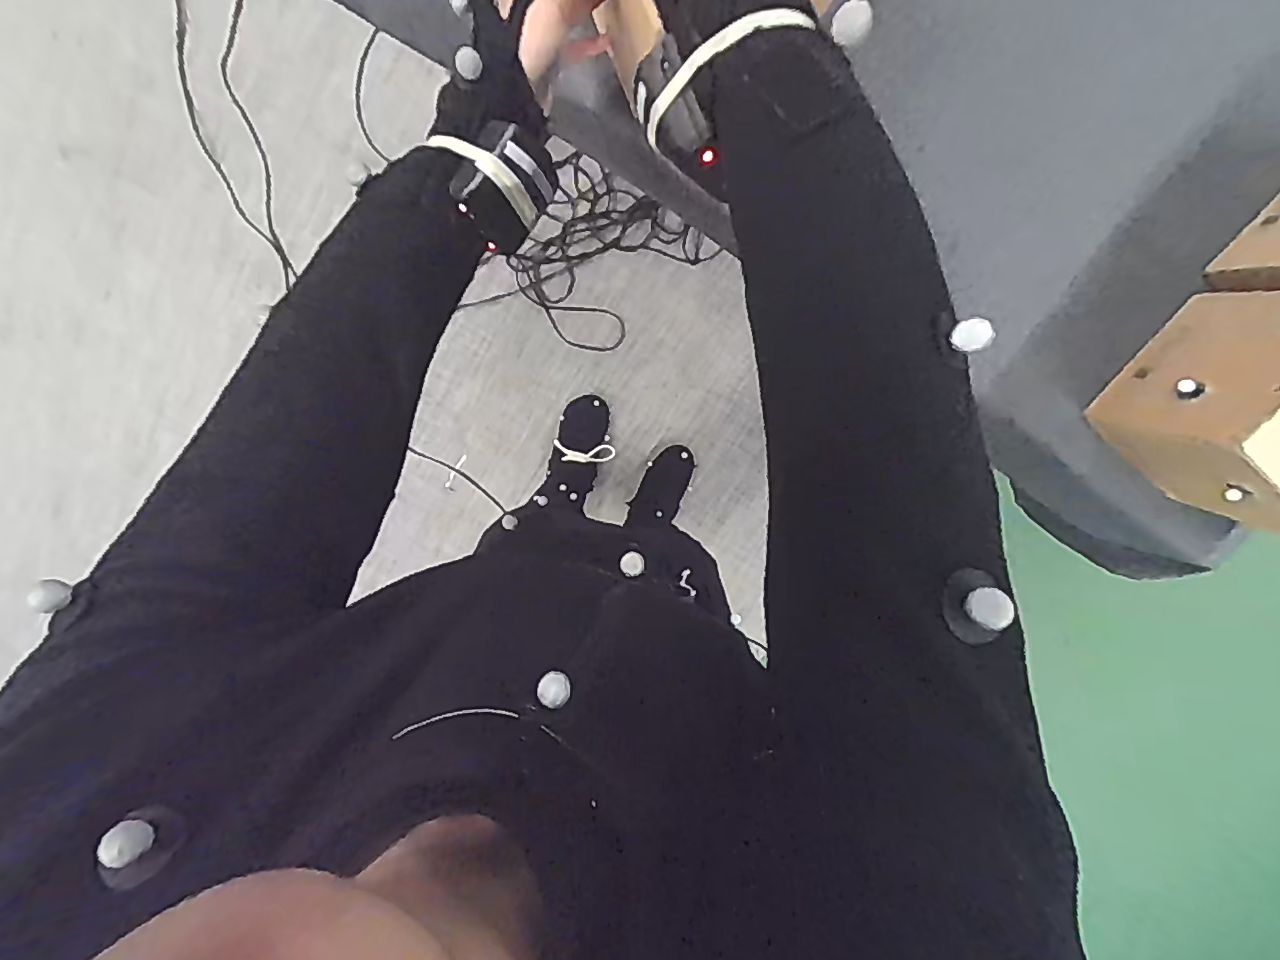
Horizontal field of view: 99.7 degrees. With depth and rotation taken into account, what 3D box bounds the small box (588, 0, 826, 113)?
[{"bbox_3d":[0.047,-0.412,0.390,0.179,0.176,0.168,-25,107,4],"label":"small box"}]
